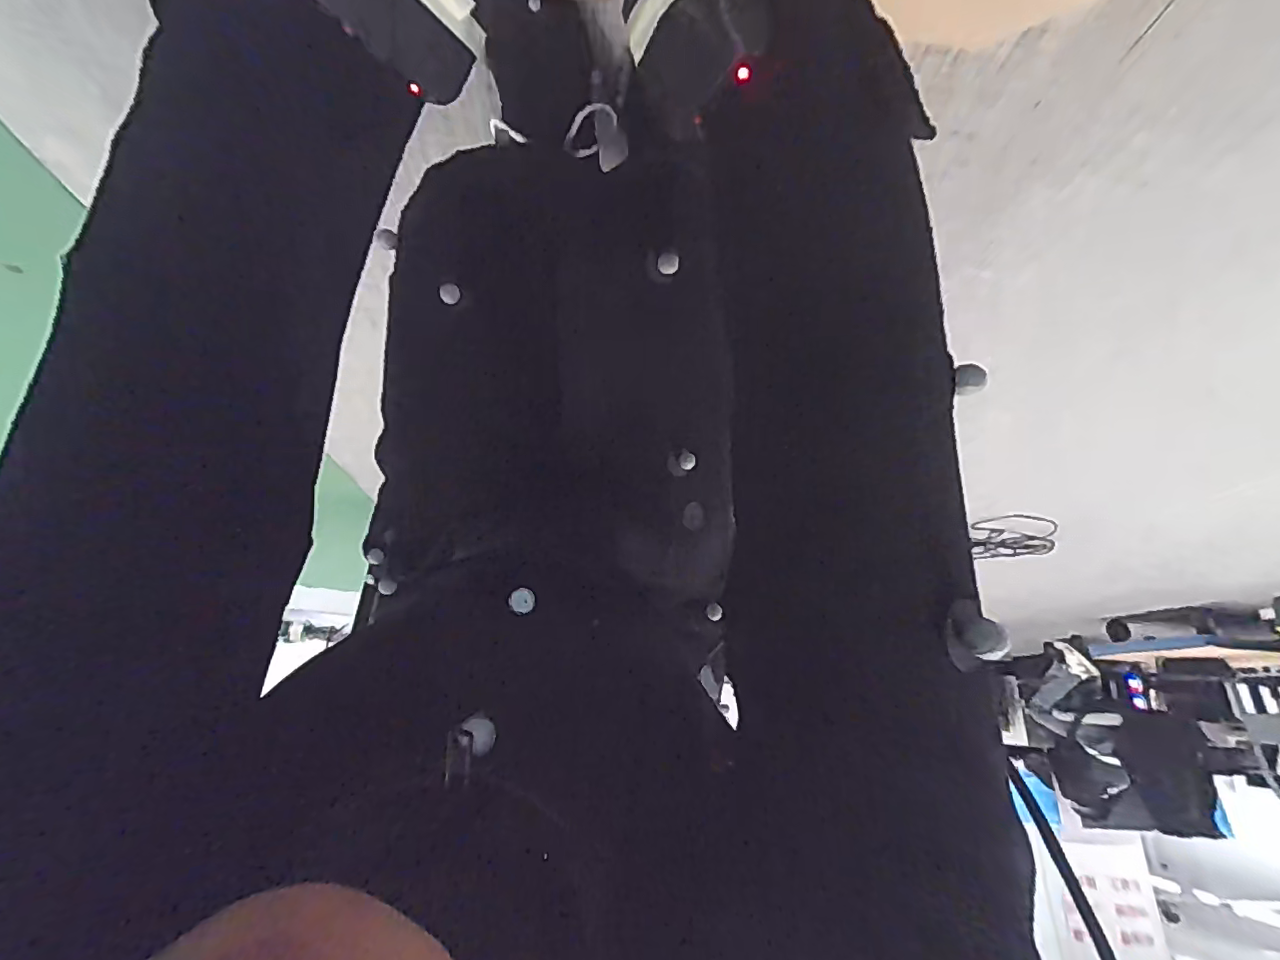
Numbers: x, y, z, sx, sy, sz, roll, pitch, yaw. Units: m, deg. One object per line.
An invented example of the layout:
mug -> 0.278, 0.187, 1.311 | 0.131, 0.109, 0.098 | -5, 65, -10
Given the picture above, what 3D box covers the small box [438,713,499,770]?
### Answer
small box -> -0.598, 0.918, 1.907 | 0.168, 0.176, 0.179 | 7, 157, -6
